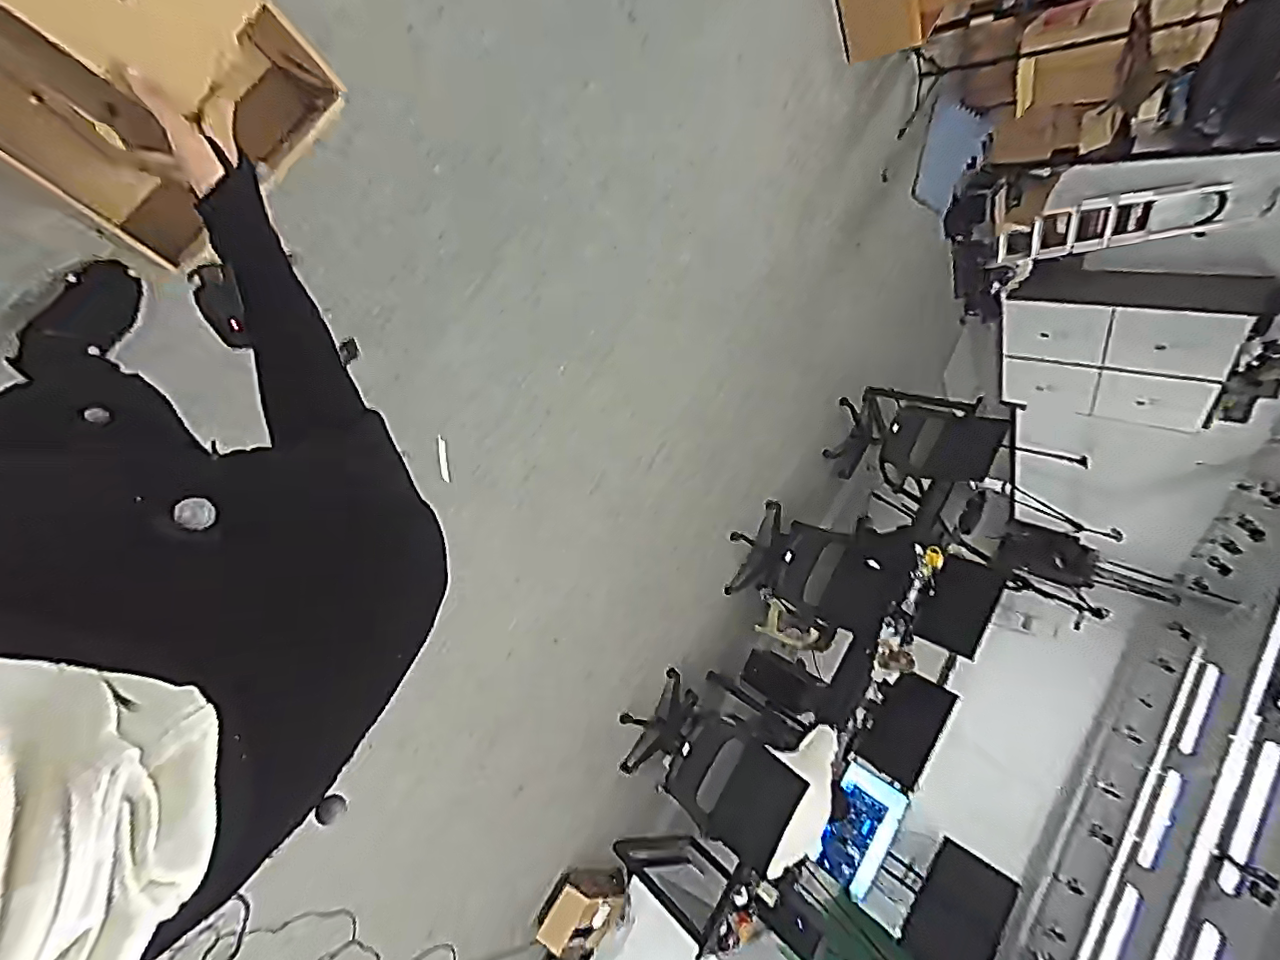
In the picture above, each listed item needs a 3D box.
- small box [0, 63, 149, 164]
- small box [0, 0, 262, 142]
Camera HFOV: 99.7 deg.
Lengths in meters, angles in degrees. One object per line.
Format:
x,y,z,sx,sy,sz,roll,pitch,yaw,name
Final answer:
-0.716,-0.552,0.710,0.179,0.176,0.168,-56,135,-12,small box
-0.493,-0.436,0.483,0.179,0.176,0.168,31,80,-53,small box
